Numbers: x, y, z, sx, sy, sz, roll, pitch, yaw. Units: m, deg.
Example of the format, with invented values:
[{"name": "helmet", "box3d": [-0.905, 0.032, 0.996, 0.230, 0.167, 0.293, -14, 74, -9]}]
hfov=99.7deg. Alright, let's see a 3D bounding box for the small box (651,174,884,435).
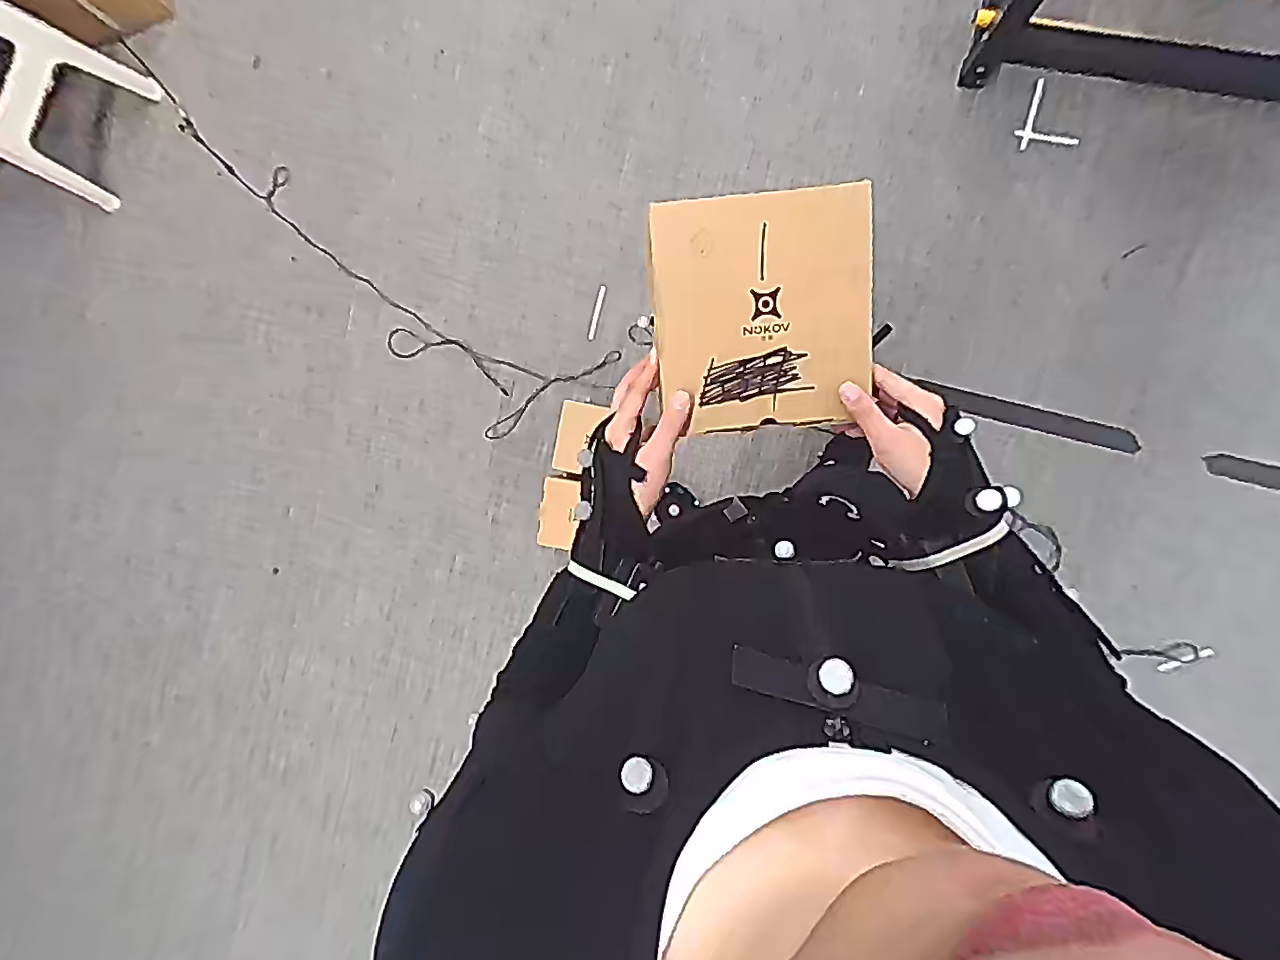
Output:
[{"name": "small box", "box3d": [0.098, -0.144, 0.479, 0.168, 0.176, 0.179, -5, 103, 1]}]
